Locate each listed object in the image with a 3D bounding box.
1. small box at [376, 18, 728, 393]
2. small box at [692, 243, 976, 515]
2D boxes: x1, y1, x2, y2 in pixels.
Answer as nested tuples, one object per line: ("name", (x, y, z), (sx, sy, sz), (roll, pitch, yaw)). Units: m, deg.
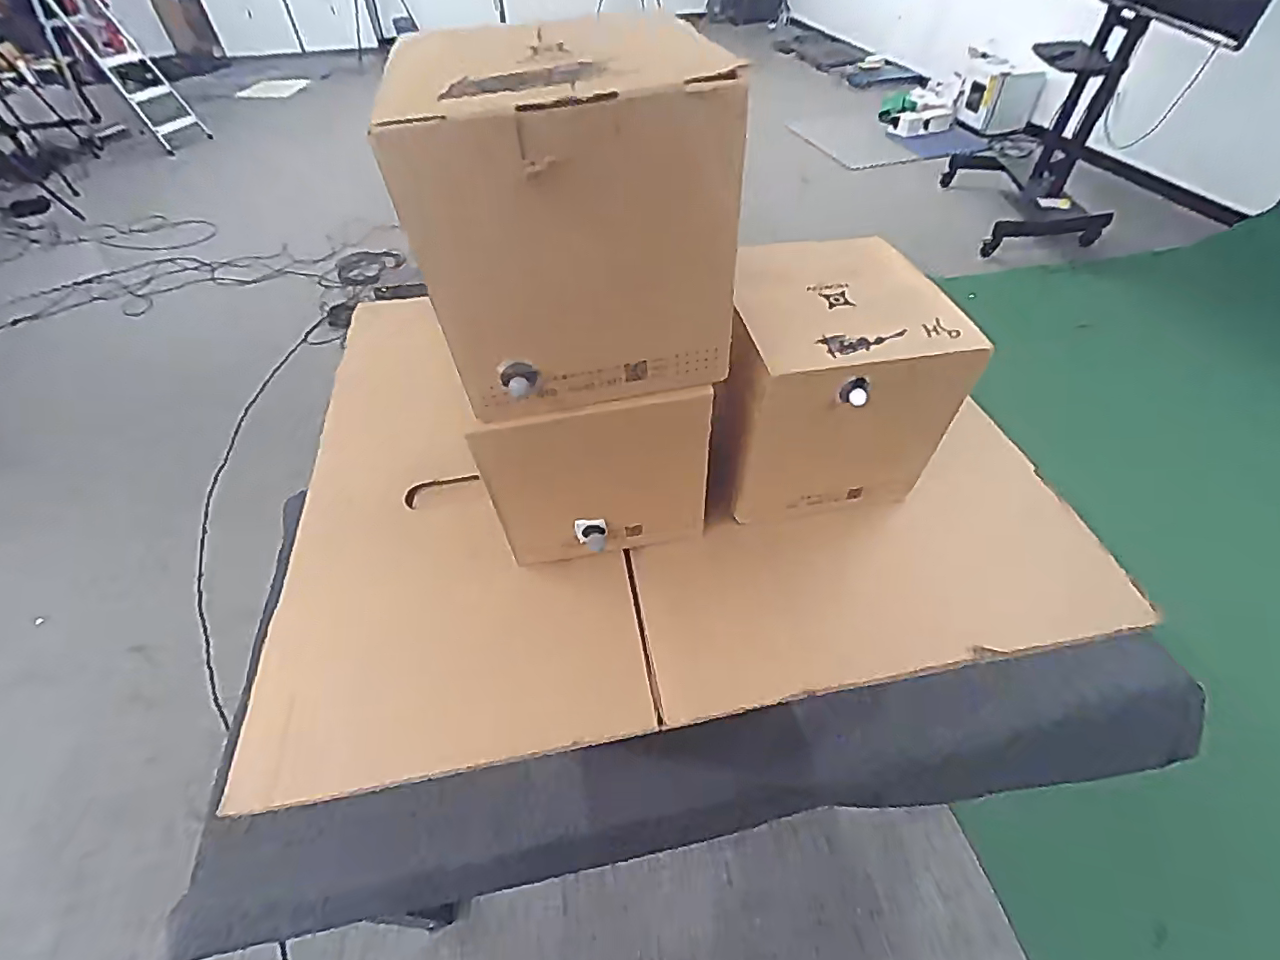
("small box", (-0.047, -0.172, 0.355), (0.168, 0.176, 0.179), (-10, 48, -5))
("small box", (0.147, -0.093, 0.492), (0.168, 0.176, 0.179), (-8, 48, -6))
